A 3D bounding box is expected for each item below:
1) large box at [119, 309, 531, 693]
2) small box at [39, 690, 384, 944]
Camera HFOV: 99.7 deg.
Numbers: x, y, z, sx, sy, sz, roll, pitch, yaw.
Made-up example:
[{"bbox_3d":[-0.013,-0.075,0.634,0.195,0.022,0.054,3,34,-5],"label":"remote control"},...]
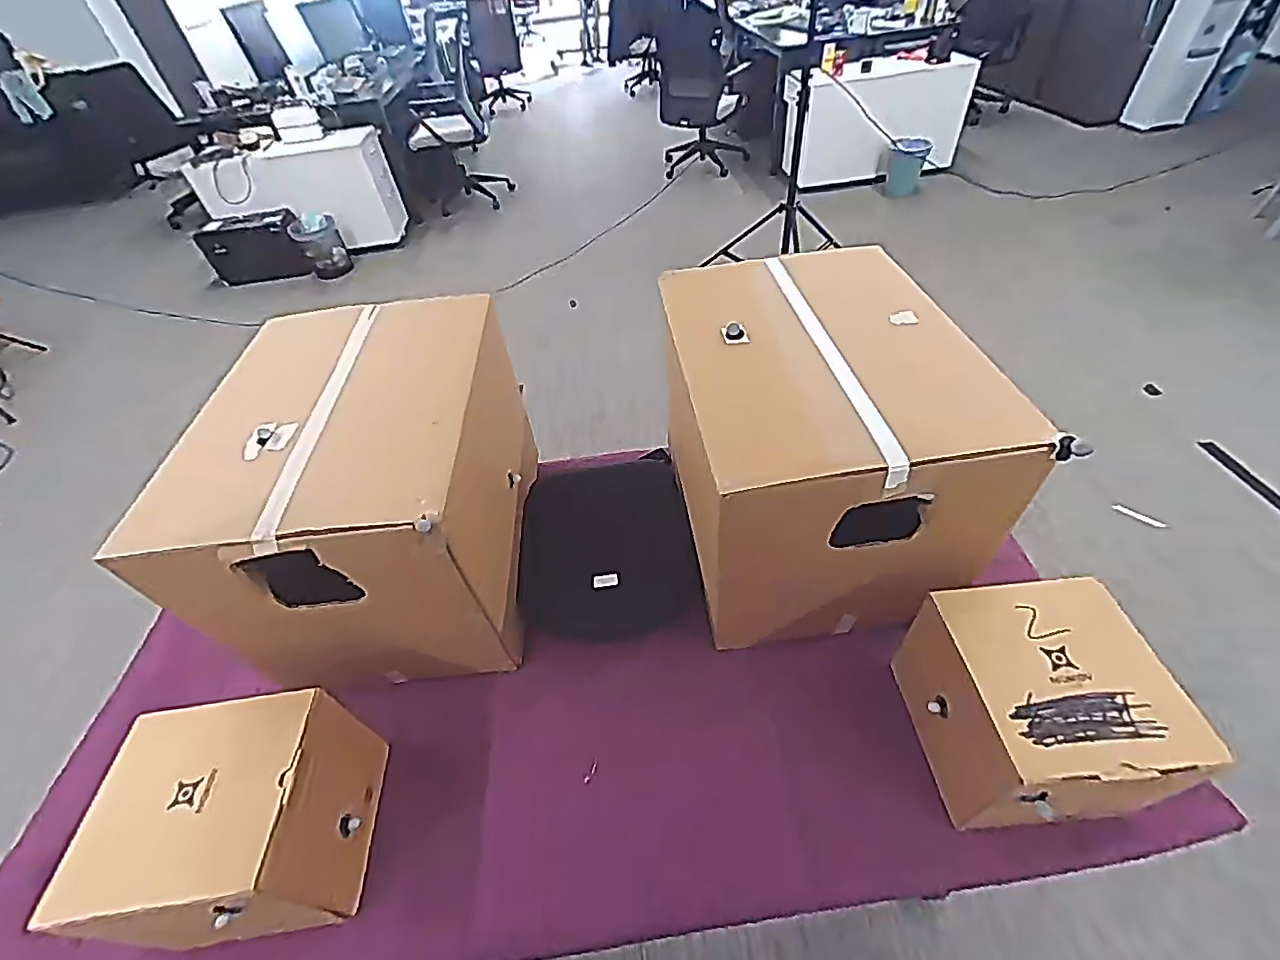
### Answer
[{"bbox_3d":[-0.334,0.023,0.732,0.320,0.320,0.408,-7,49,1],"label":"large box"},{"bbox_3d":[-0.389,0.335,0.536,0.179,0.176,0.168,-9,45,-2],"label":"small box"}]
